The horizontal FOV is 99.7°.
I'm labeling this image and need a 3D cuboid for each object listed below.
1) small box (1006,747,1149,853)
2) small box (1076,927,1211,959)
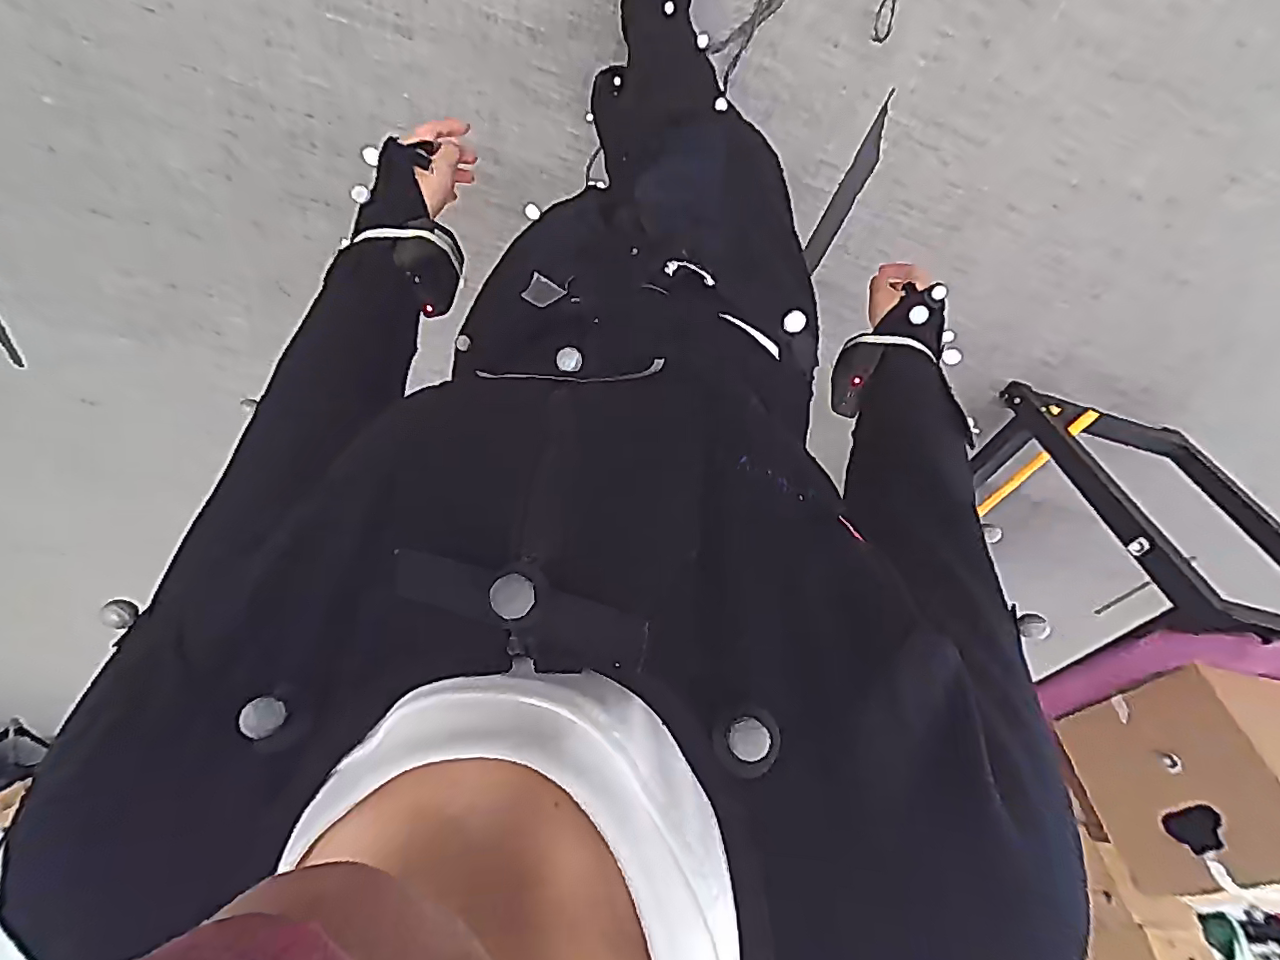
[{"bbox_3d":[1.004,0.750,1.266,0.168,0.176,0.179,12,133,-11],"label":"small box"},{"bbox_3d":[0.990,0.979,1.032,0.168,0.176,0.179,15,132,-13],"label":"small box"}]
